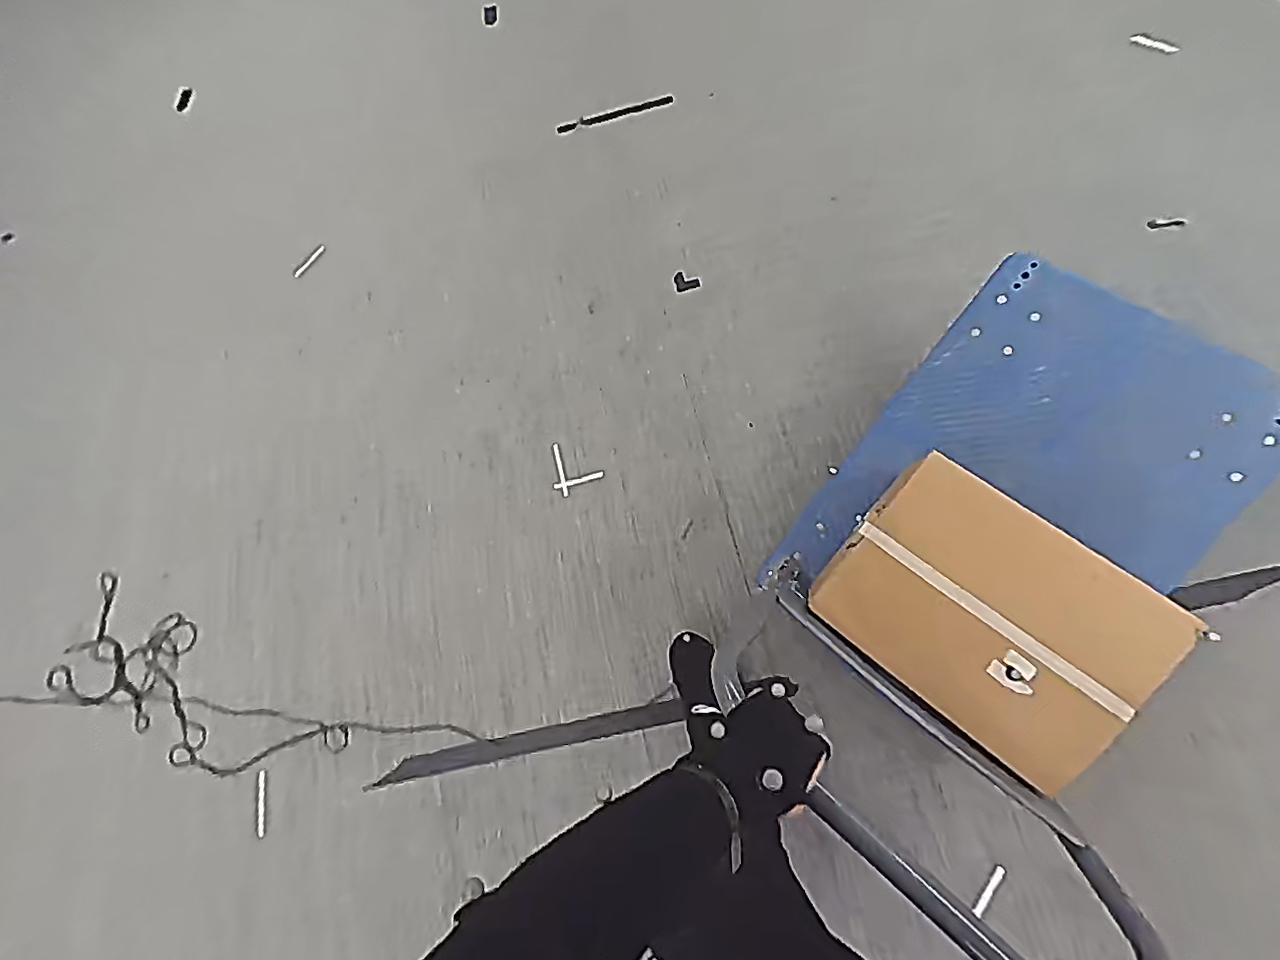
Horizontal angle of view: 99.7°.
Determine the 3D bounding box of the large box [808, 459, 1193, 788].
[{"bbox_3d":[0.551,0.213,0.940,0.408,0.320,0.320,38,97,17],"label":"large box"}]
